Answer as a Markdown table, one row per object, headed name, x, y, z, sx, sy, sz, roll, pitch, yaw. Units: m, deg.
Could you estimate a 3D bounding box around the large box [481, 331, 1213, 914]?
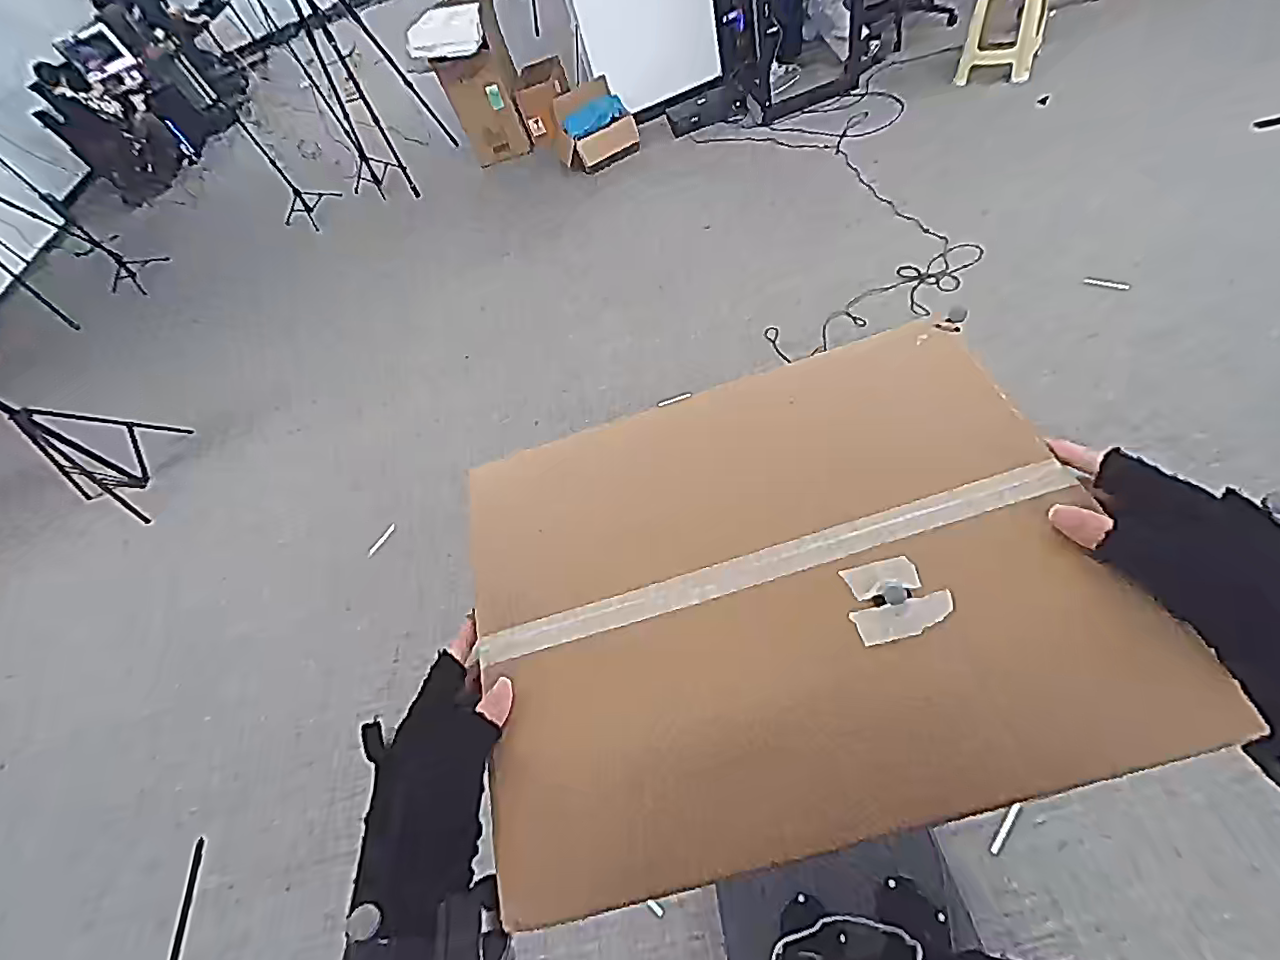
| name | x | y | z | sx | sy | sz | roll | pitch | yaw |
| --- | --- | --- | --- | --- | --- | --- | --- | --- | --- |
| large box | 0.115 | 0.135 | 0.501 | 0.408 | 0.320 | 0.320 | -18 | 59 | 3 |
